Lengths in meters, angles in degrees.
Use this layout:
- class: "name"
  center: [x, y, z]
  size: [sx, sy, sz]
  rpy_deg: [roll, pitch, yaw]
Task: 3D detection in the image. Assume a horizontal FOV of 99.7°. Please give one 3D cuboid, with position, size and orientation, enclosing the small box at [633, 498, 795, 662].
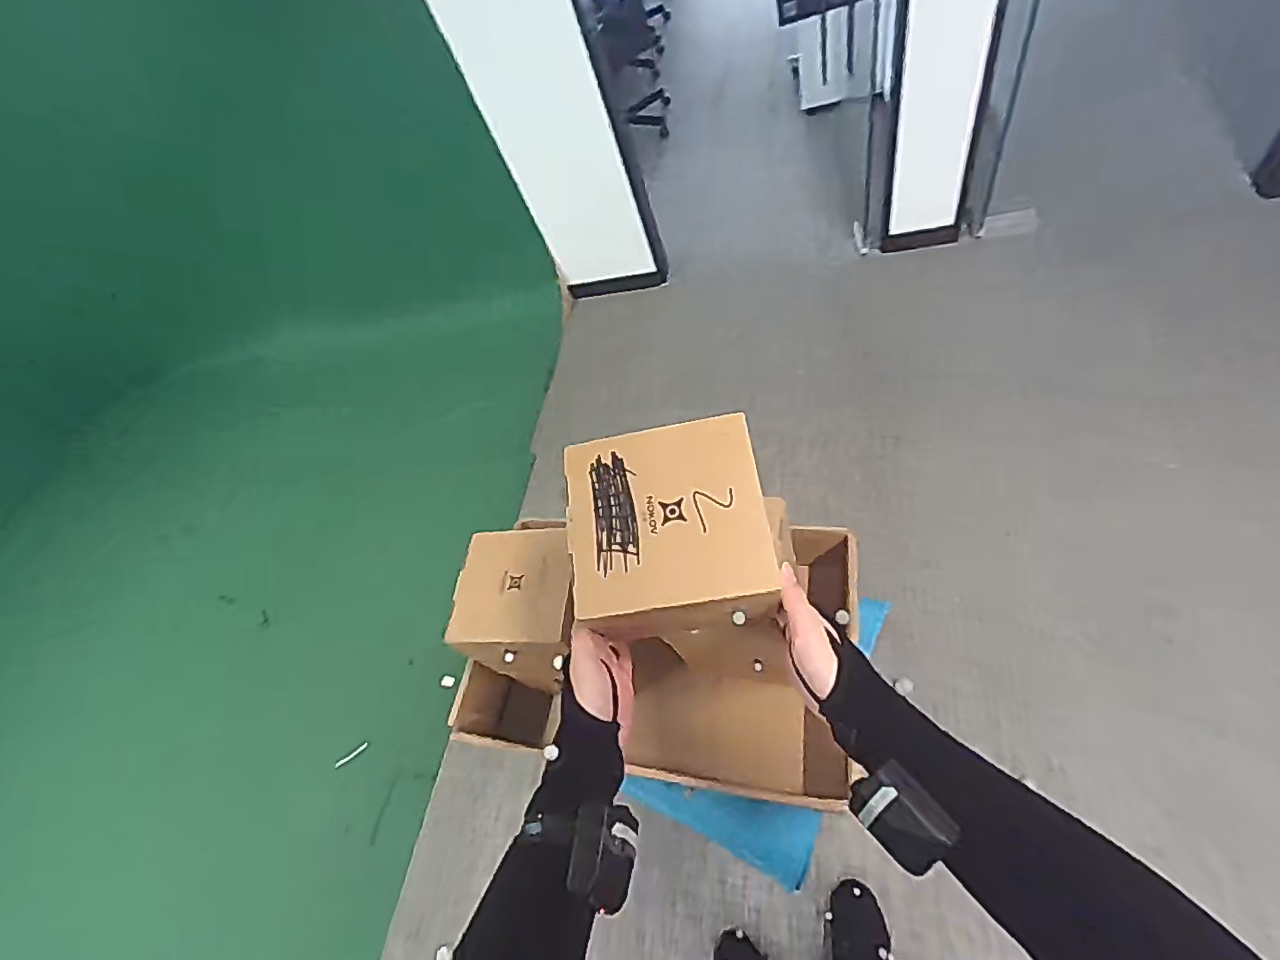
- class: "small box"
  center: [0.113, 0.140, 0.749]
  size: [0.179, 0.176, 0.168]
  rpy_deg: [3, 59, 22]

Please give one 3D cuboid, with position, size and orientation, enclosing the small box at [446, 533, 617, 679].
- class: "small box"
  center: [-0.149, 0.193, 0.808]
  size: [0.179, 0.176, 0.168]
  rpy_deg: [-4, 56, 16]
